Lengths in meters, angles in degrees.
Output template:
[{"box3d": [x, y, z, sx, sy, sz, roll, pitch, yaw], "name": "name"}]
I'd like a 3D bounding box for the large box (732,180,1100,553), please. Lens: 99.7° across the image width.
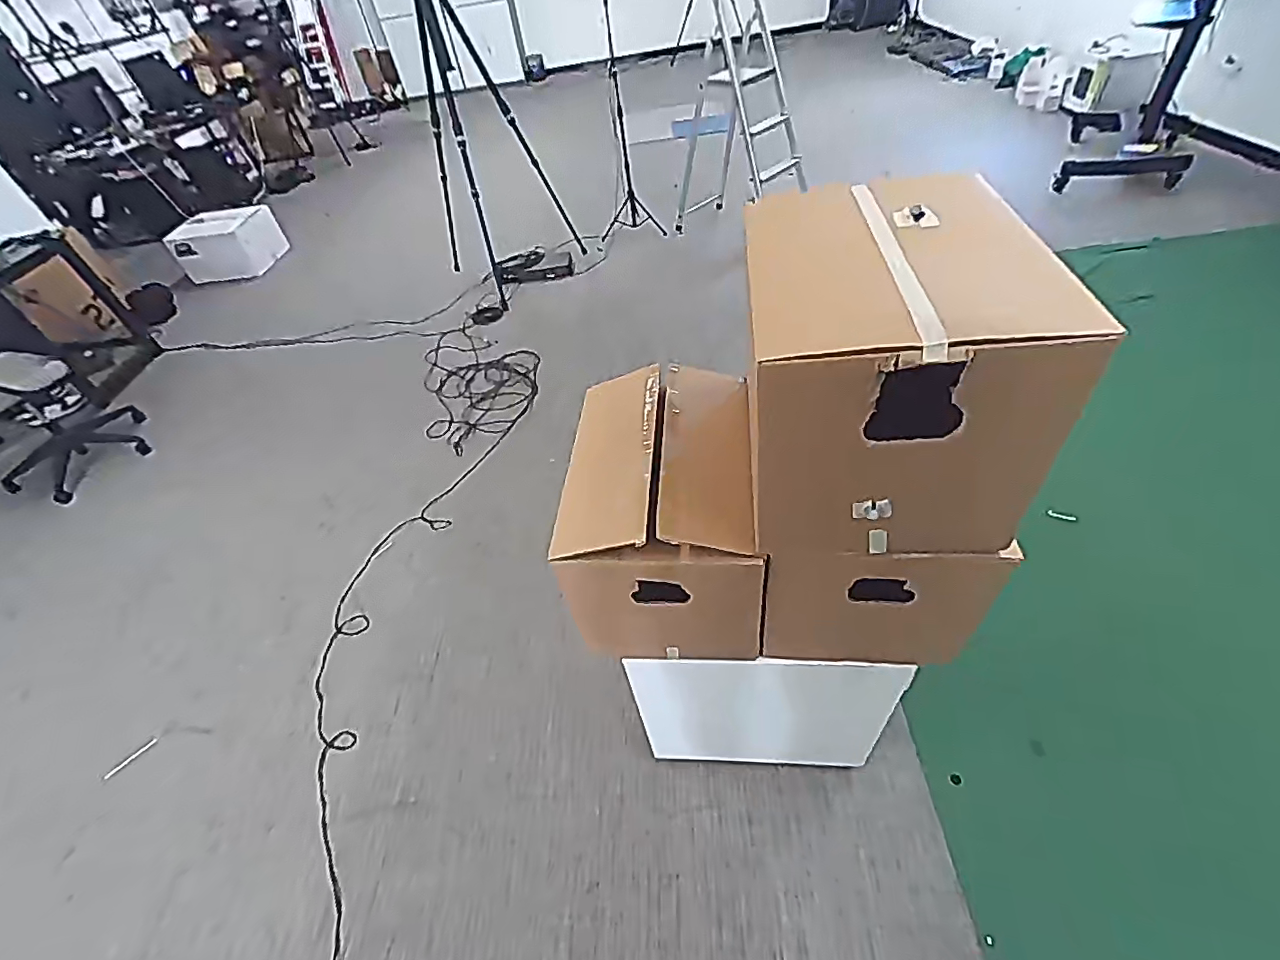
[{"box3d": [0.295, -0.153, 0.731, 0.320, 0.320, 0.408, -3, 45, 11], "name": "large box"}]
